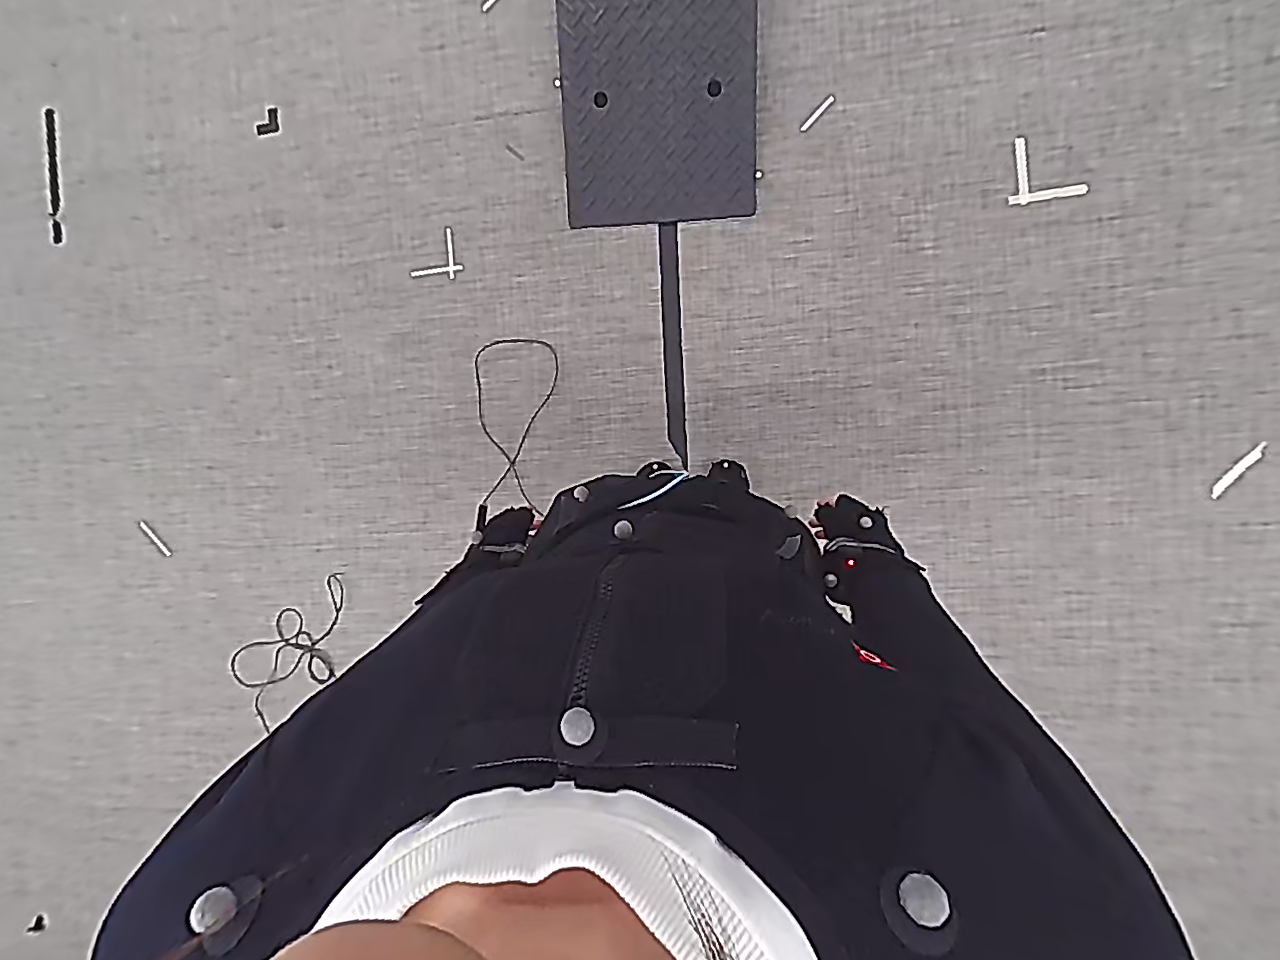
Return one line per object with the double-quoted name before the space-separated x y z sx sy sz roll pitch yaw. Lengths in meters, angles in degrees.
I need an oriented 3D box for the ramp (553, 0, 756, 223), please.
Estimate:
"ramp" 0.031 -1.174 1.300 0.509 0.206 0.991 -3 93 6
